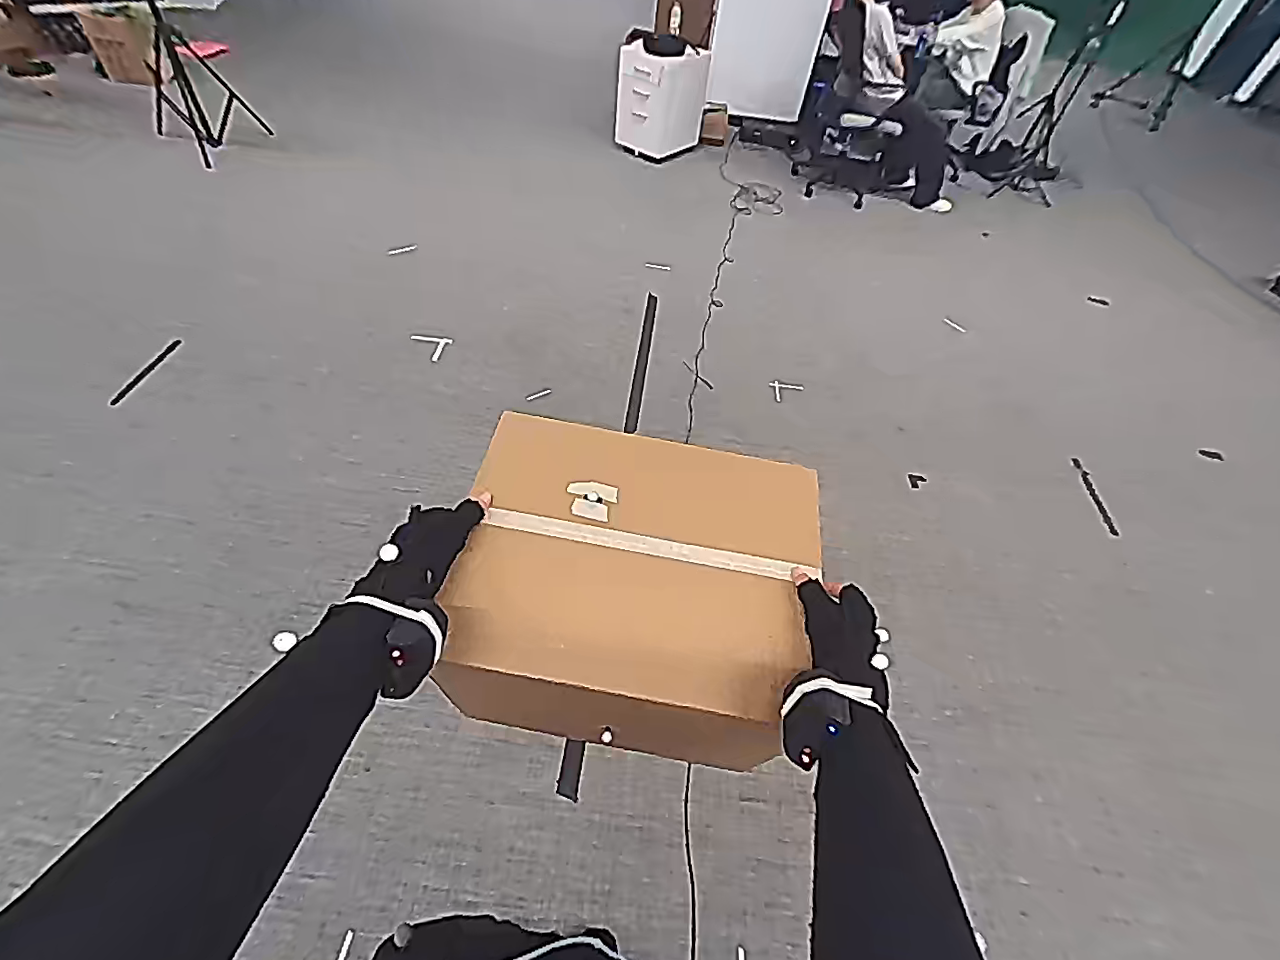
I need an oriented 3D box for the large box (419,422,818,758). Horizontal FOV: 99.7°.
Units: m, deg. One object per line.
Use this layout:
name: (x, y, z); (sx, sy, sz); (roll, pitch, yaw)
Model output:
large box: (-0.012, 0.163, 0.732); (0.408, 0.320, 0.320); (10, 55, 1)
